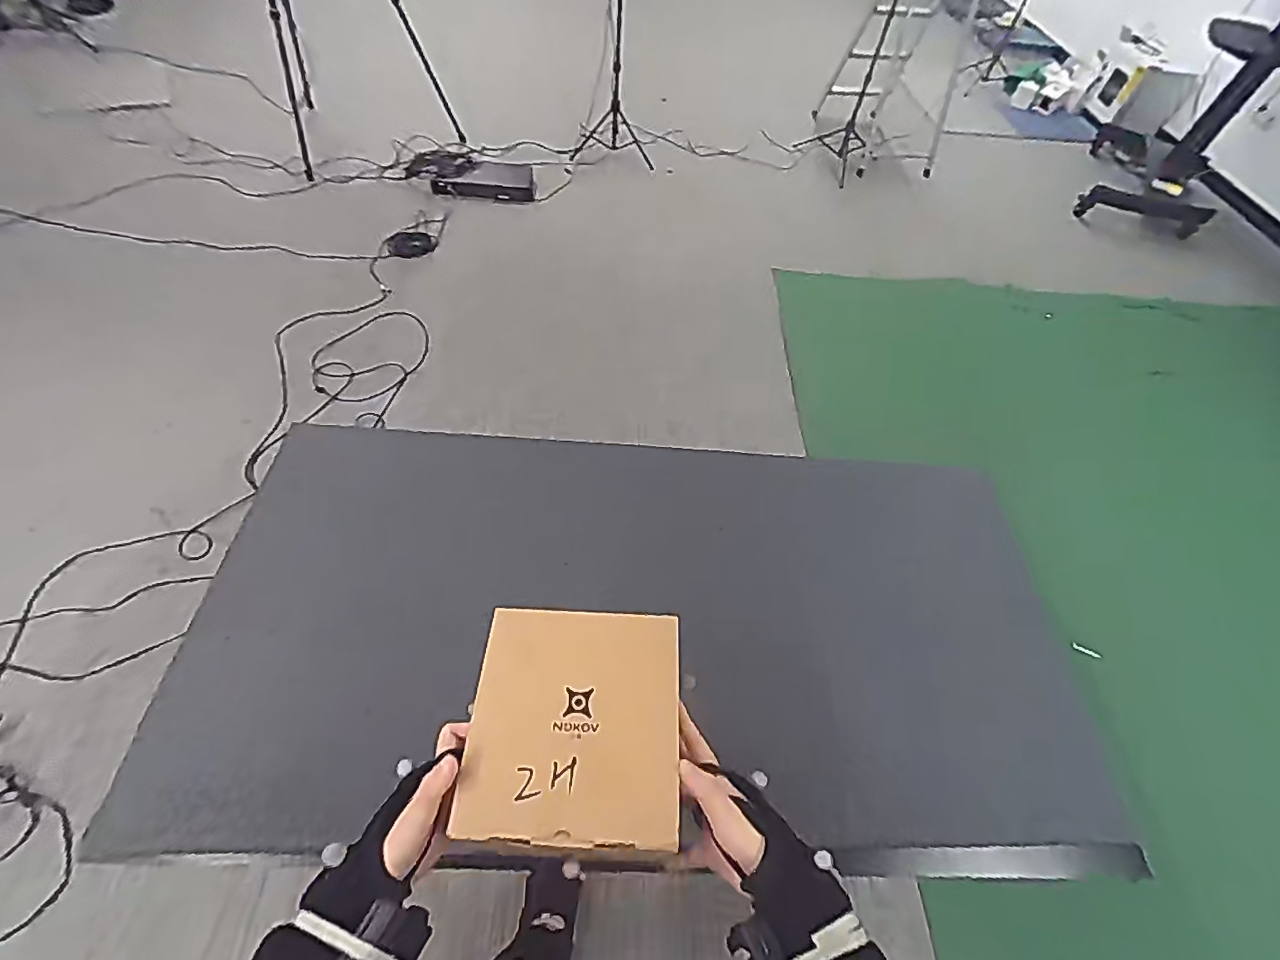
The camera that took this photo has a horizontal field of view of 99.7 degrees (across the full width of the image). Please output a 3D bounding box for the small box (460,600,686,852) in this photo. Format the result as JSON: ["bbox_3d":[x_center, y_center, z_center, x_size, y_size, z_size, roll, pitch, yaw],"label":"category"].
[{"bbox_3d":[-0.047,0.228,0.498,0.168,0.176,0.179,2,53,1],"label":"small box"}]
